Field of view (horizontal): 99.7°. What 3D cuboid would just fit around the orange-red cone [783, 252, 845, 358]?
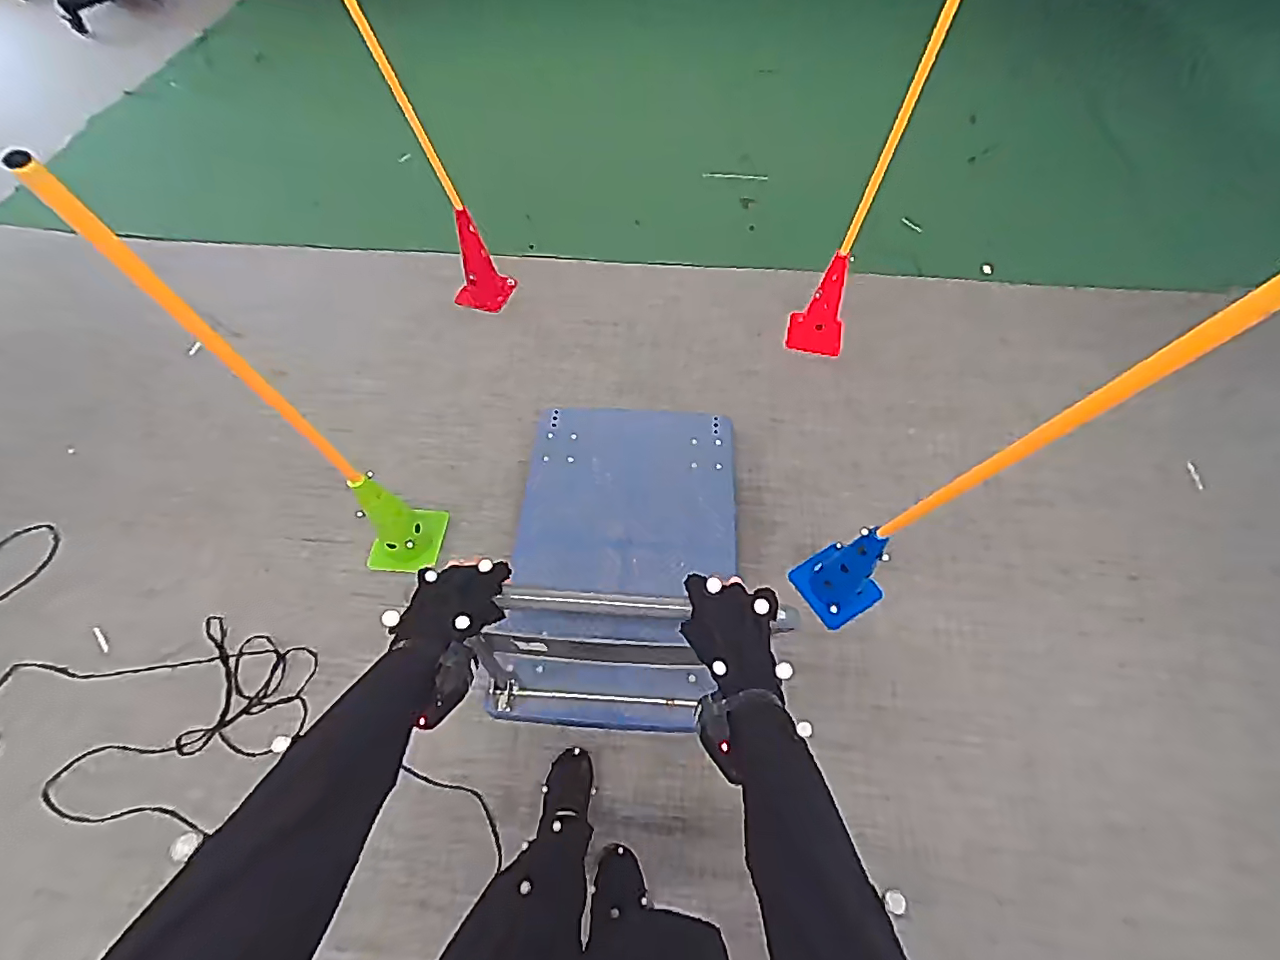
[{"bbox_3d":[0.642,-0.626,1.879,0.198,0.360,0.199,13,61,9],"label":"orange-red cone"}]
